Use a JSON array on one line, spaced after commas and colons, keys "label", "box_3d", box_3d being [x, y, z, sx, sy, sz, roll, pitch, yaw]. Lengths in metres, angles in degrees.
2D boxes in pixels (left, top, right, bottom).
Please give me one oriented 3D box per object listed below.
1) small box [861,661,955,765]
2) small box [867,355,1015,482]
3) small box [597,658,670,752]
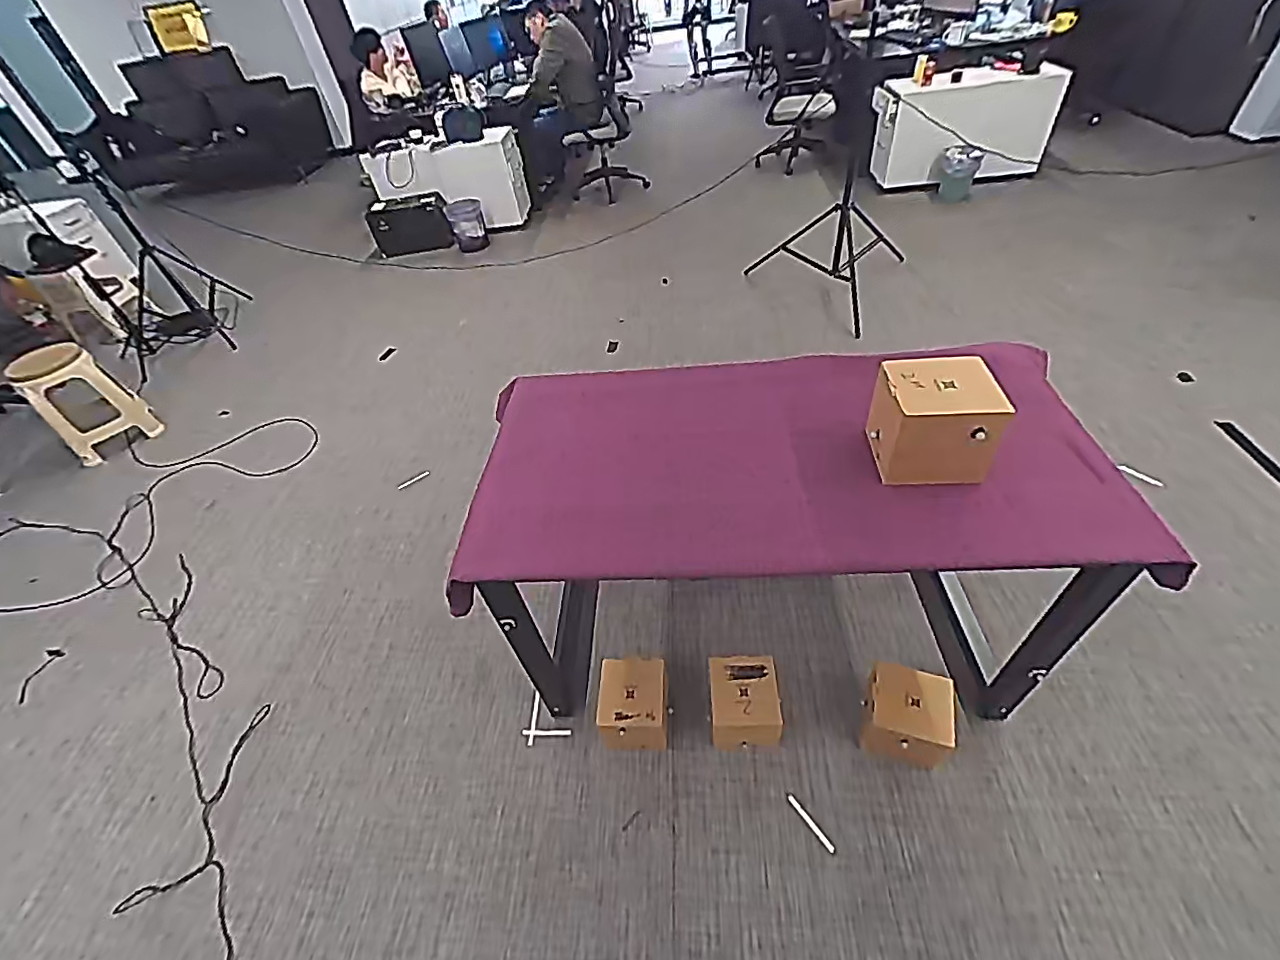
[{"label": "small box", "box_3d": [0.656, 0.578, 1.332, 0.179, 0.176, 0.168, 9, 49, 19]}, {"label": "small box", "box_3d": [0.538, -0.110, 0.995, 0.179, 0.176, 0.168, -2, 45, 8]}, {"label": "small box", "box_3d": [-0.011, 0.591, 1.425, 0.168, 0.176, 0.179, -1, 44, 8]}]
